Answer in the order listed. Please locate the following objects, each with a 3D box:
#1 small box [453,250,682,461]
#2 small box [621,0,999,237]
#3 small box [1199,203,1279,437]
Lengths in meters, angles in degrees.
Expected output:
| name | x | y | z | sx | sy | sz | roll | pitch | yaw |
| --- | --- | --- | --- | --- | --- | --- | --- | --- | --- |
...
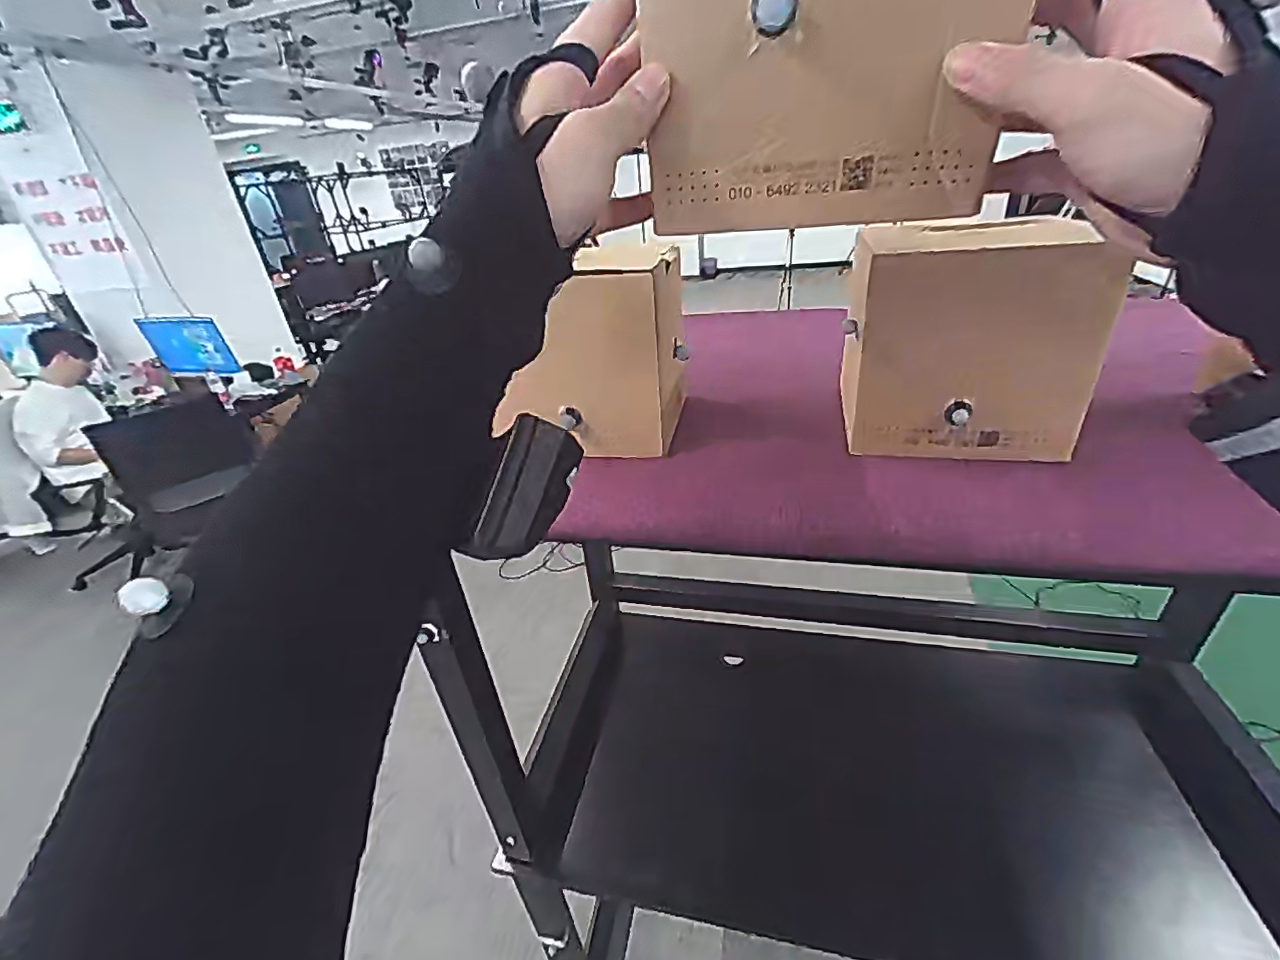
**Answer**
| name | x | y | z | sx | sy | sz | roll | pitch | yaw |
| --- | --- | --- | --- | --- | --- | --- | --- | --- | --- |
| small box | -0.054 | -0.128 | 0.547 | 0.179 | 0.176 | 0.168 | 2 | 29 | 12 |
| small box | 0.089 | -0.245 | 0.308 | 0.168 | 0.176 | 0.179 | 1 | 37 | 12 |
| small box | 0.583 | -0.112 | 0.392 | 0.168 | 0.176 | 0.179 | 1 | 28 | 13 |
